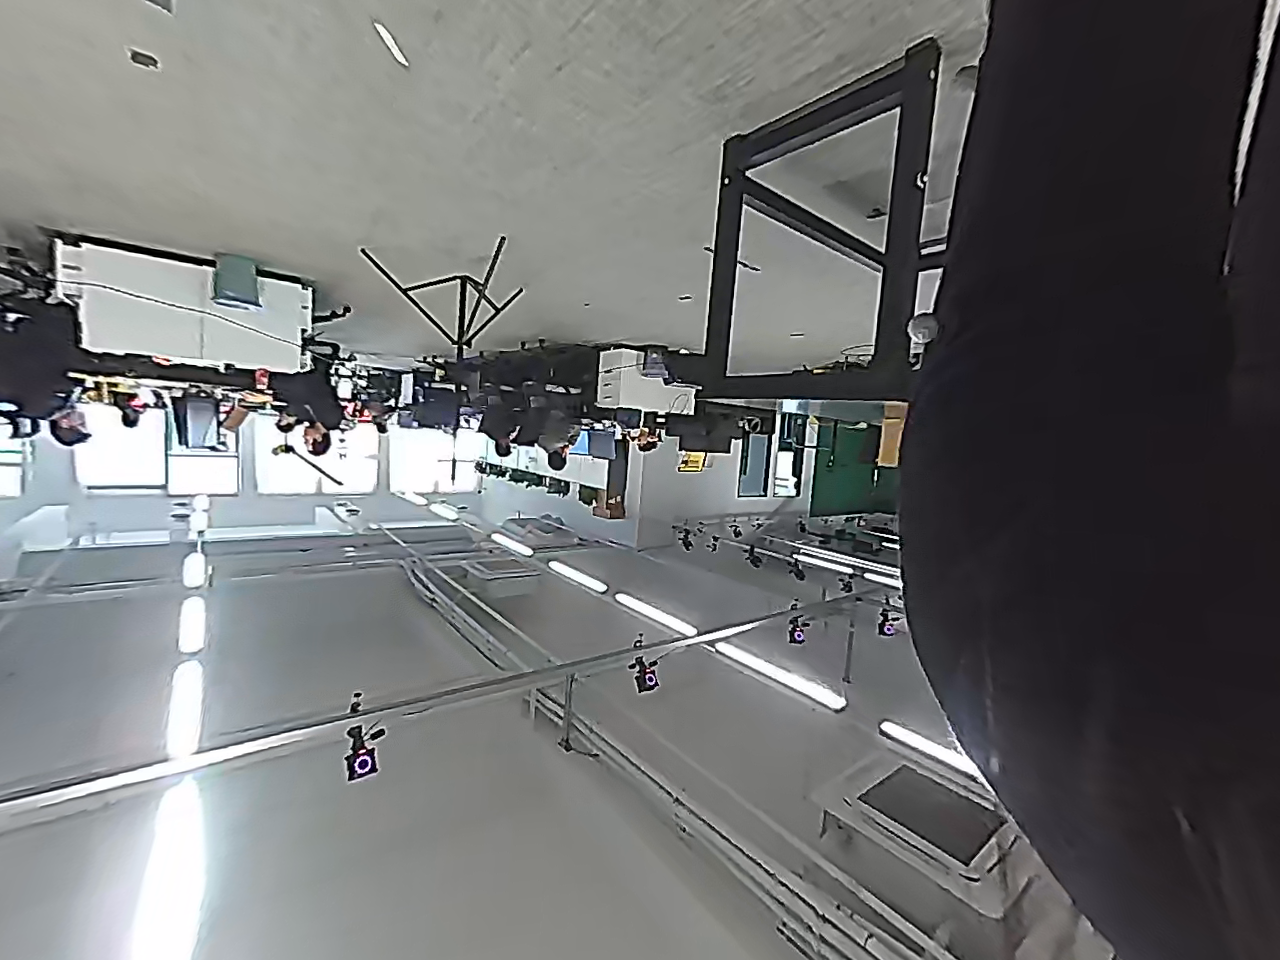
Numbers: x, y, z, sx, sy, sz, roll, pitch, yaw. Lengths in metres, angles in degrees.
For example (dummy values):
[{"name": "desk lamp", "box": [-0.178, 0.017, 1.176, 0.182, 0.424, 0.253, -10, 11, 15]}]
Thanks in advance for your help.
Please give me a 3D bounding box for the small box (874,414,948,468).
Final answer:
[{"name": "small box", "box": [0.924, -0.135, 1.836, 0.168, 0.176, 0.179, 1, -173, -39]}]
